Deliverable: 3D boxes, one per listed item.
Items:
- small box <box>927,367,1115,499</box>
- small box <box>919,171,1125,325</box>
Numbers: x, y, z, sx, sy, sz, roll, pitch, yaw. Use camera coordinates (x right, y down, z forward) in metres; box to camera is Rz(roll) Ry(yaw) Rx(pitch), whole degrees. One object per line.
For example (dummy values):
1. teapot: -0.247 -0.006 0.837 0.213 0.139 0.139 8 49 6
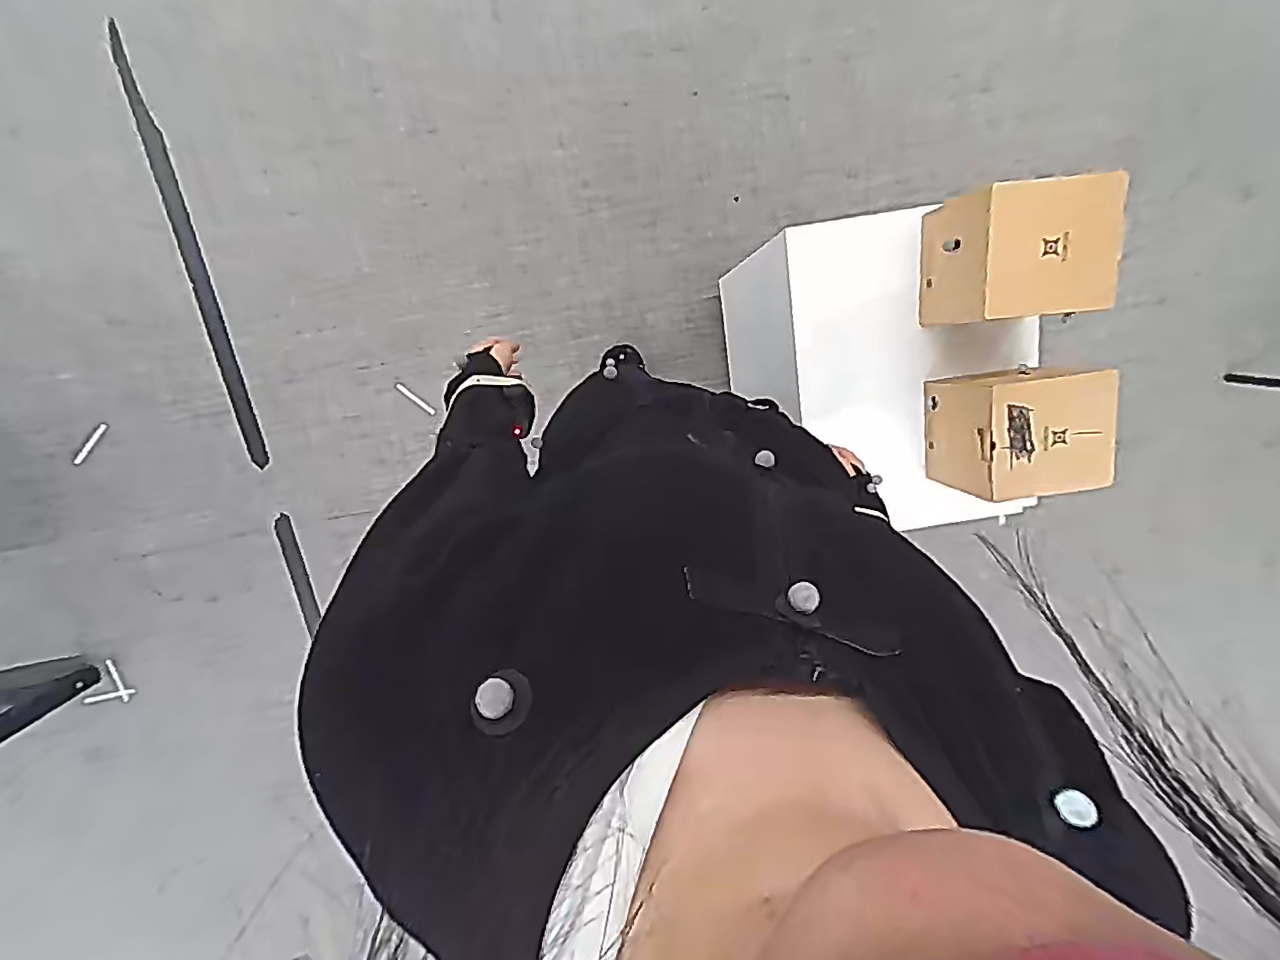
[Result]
1. small box: 0.559 -0.078 0.819 0.179 0.176 0.168 -8 103 -1
2. small box: 0.520 -0.314 0.765 0.179 0.176 0.168 -6 103 -1
